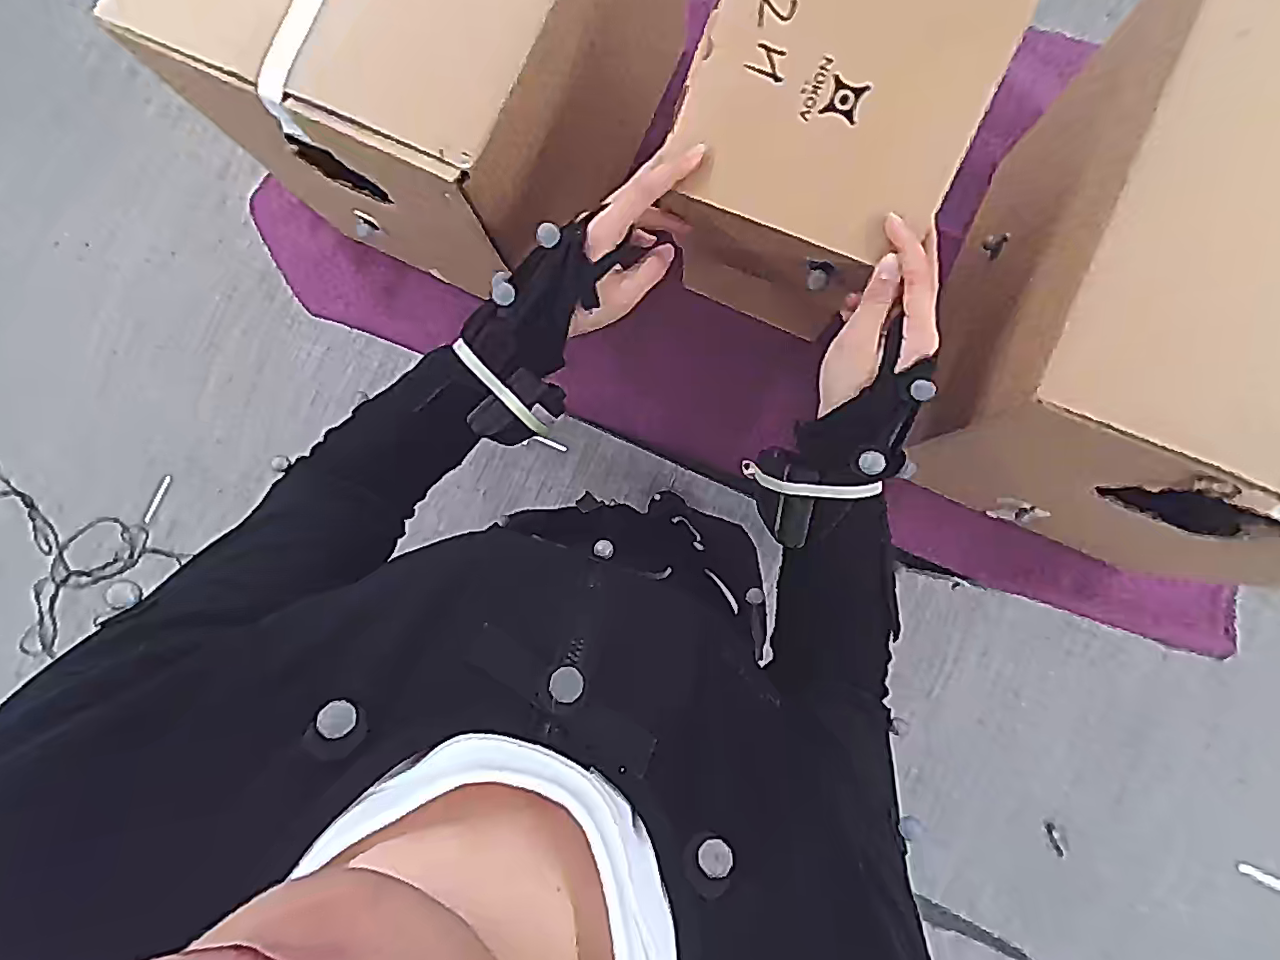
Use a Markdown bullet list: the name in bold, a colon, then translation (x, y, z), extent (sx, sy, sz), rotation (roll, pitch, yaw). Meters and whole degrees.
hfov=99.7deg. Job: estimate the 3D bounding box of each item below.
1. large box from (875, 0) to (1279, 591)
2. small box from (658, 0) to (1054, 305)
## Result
- **large box**: translation (0.469, -0.145, 0.472), extent (0.320, 0.320, 0.408), rotation (24, 86, 5)
- **small box**: translation (0.133, -0.242, 0.398), extent (0.179, 0.176, 0.168), rotation (25, 101, 5)
